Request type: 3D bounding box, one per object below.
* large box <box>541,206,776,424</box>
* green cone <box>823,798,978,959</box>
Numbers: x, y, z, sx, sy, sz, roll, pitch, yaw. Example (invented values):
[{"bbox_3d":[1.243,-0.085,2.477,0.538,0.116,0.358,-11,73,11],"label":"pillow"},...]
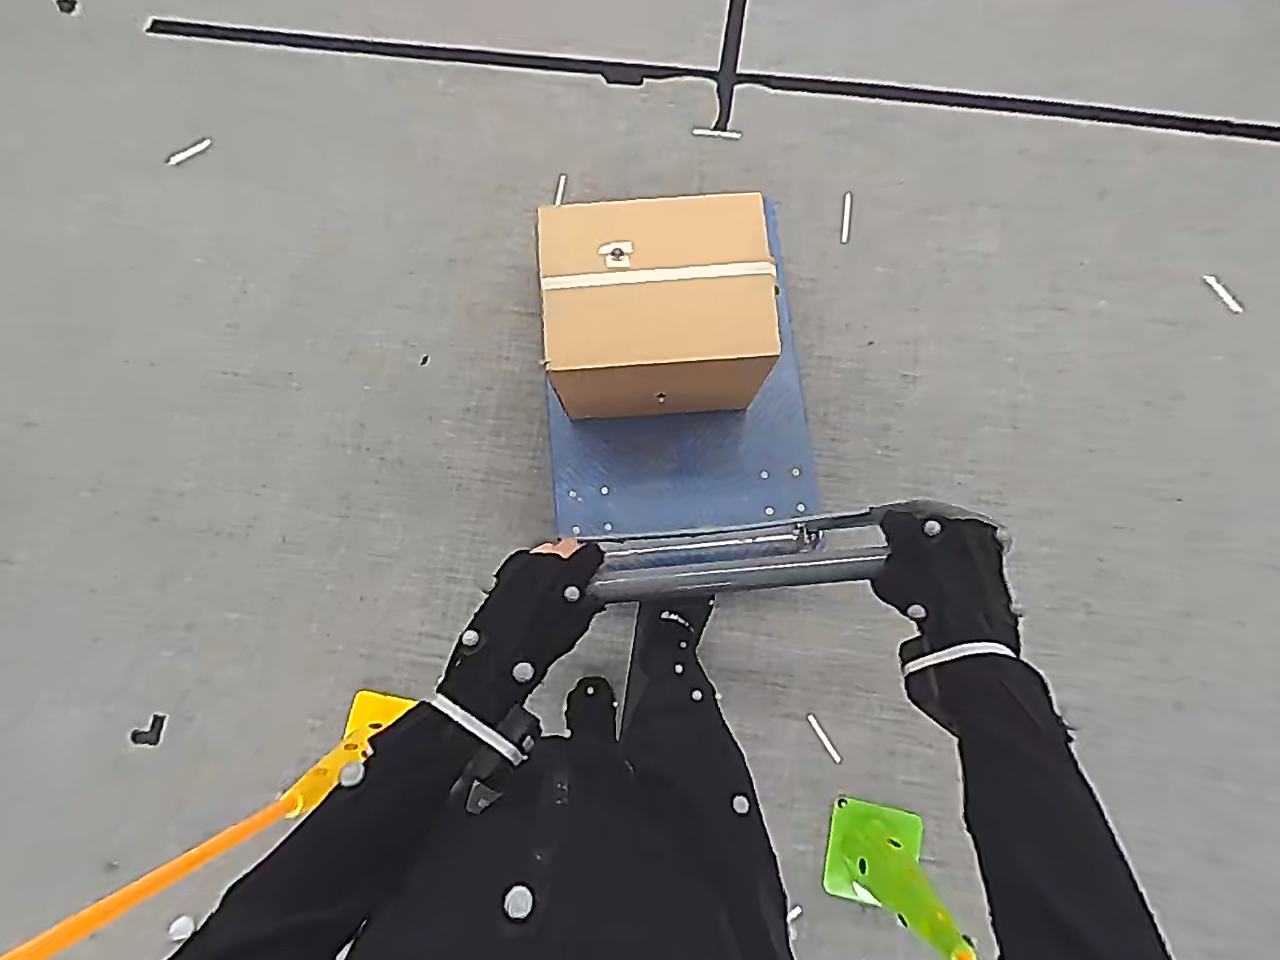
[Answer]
[{"bbox_3d":[0.033,-0.311,1.109,0.408,0.320,0.320,-4,80,1],"label":"large box"},{"bbox_3d":[0.517,0.804,1.040,0.202,0.368,0.200,12,80,2],"label":"green cone"}]
